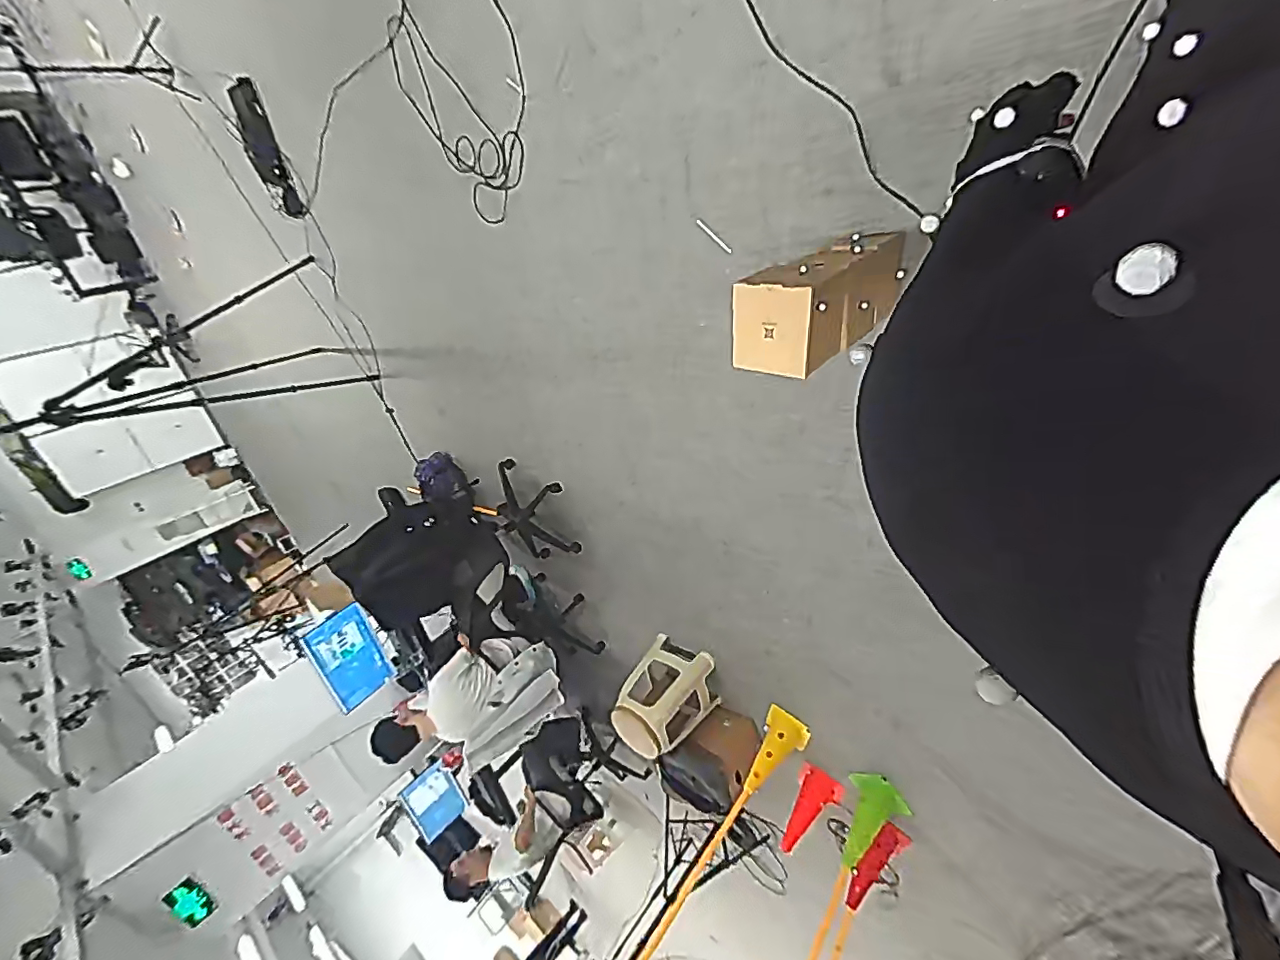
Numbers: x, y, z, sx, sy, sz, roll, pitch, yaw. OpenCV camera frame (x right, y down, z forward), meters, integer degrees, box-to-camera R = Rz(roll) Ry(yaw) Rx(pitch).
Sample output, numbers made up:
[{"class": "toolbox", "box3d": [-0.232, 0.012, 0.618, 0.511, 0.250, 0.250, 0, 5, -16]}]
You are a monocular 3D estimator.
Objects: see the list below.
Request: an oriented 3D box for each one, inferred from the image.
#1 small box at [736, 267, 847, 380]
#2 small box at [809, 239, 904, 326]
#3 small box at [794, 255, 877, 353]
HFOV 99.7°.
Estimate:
[{"class": "small box", "box3d": [0.313, -0.329, 1.119, 0.168, 0.176, 0.179, 19, 129, 35]}, {"class": "small box", "box3d": [0.529, -0.481, 1.316, 0.168, 0.176, 0.179, 13, 125, 43]}, {"class": "small box", "box3d": [0.421, -0.401, 1.217, 0.168, 0.176, 0.179, 14, 128, 38]}]
